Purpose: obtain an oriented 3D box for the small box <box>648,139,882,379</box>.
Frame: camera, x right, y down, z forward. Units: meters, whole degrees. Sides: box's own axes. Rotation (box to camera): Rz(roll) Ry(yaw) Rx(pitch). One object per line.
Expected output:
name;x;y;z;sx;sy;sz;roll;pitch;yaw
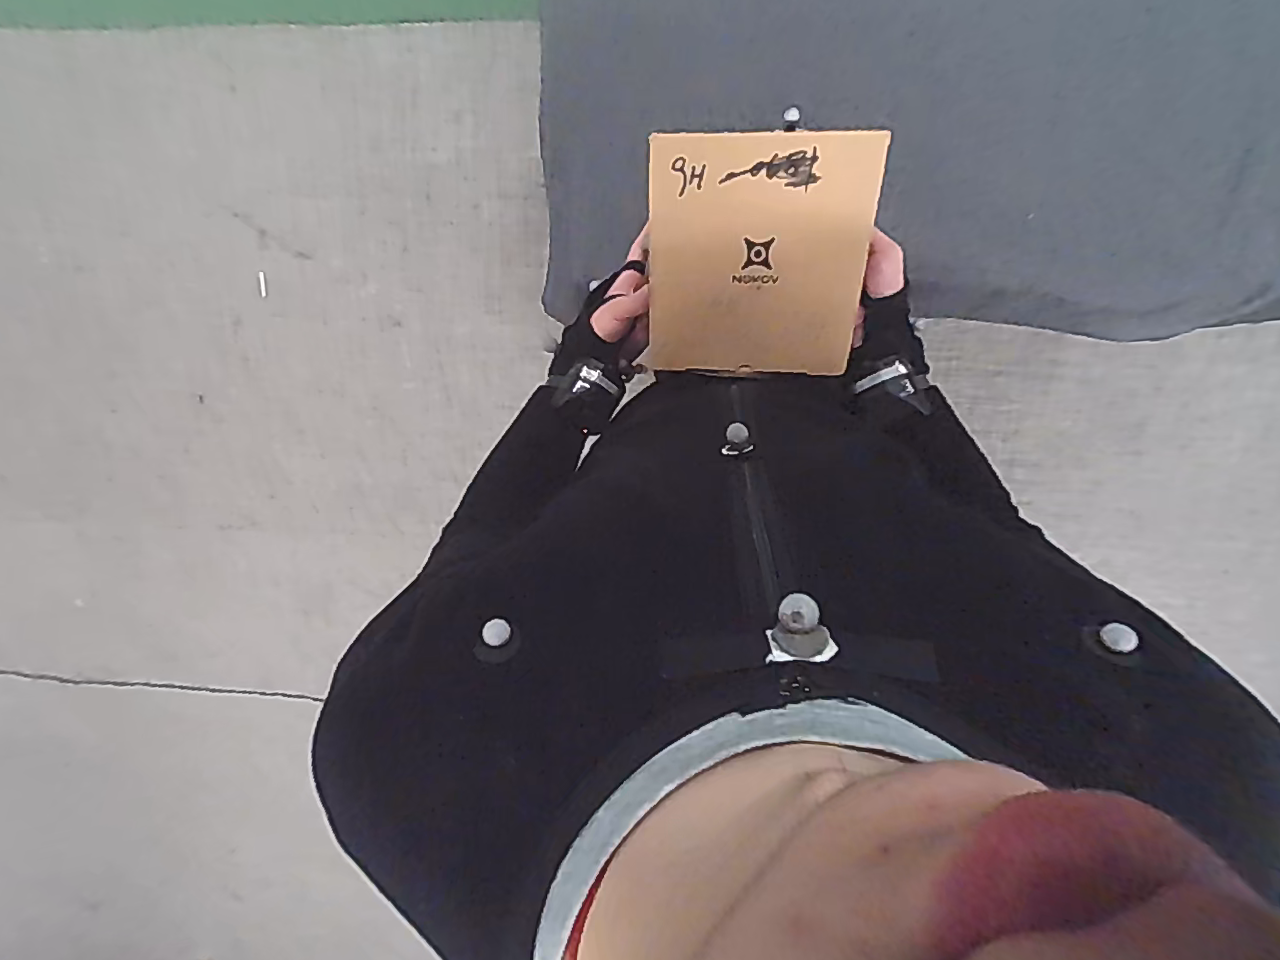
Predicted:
small box;0.097;-0.208;0.497;0.168;0.176;0.179;2;123;4
